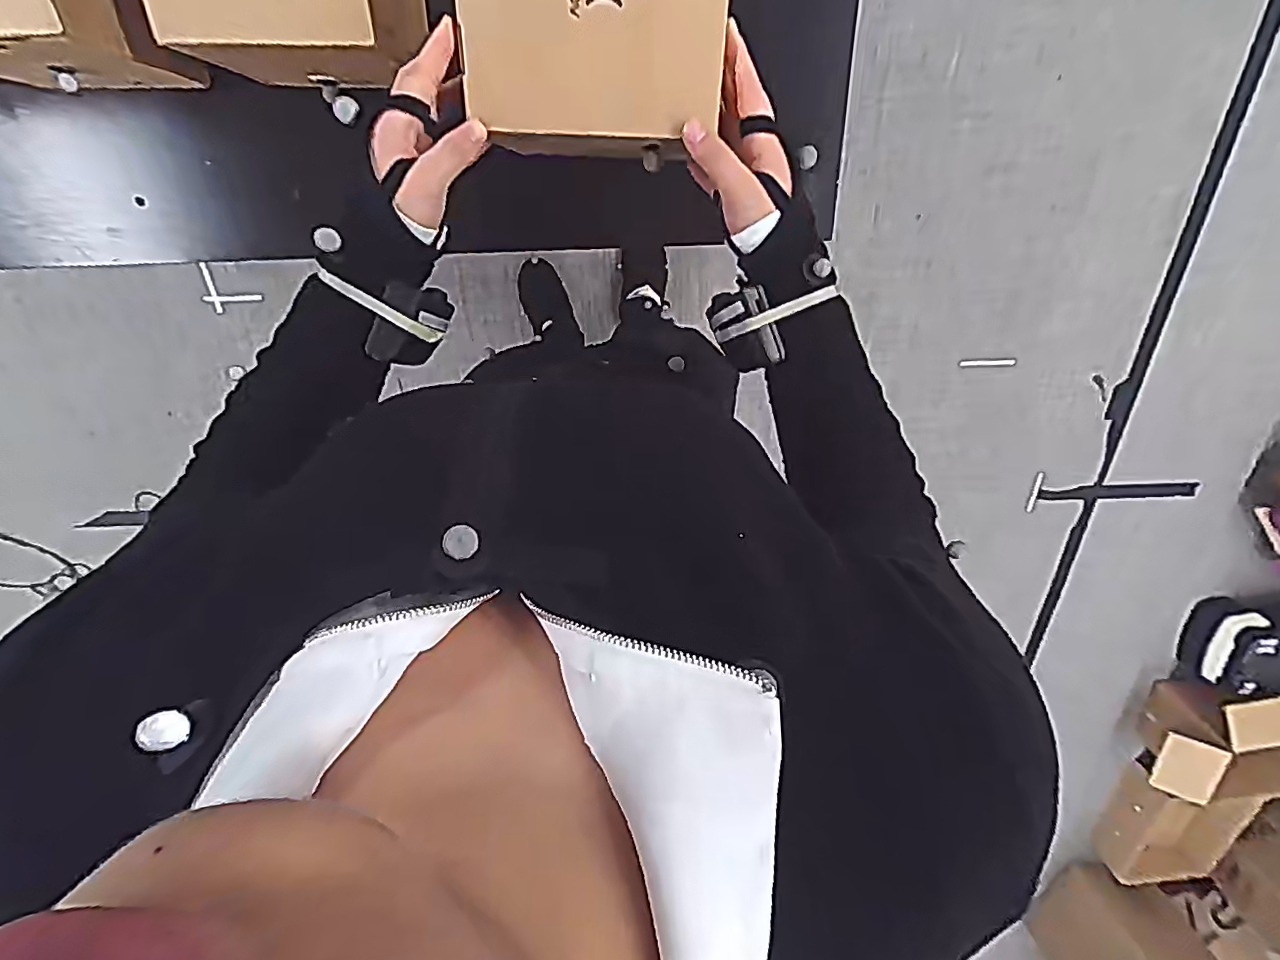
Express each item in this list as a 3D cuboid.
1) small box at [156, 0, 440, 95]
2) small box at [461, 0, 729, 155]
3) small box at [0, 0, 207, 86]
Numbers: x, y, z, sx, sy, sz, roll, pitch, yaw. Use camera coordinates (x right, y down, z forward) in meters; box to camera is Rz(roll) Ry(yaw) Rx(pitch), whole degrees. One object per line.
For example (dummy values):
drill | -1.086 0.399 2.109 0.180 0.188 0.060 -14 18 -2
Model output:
small box | -0.285 -0.448 0.457 0.168 0.176 0.179 -1 117 -1
small box | -0.027 -0.353 0.415 0.179 0.176 0.168 3 117 1
small box | -0.511 -0.441 0.442 0.168 0.176 0.179 -2 116 -2
